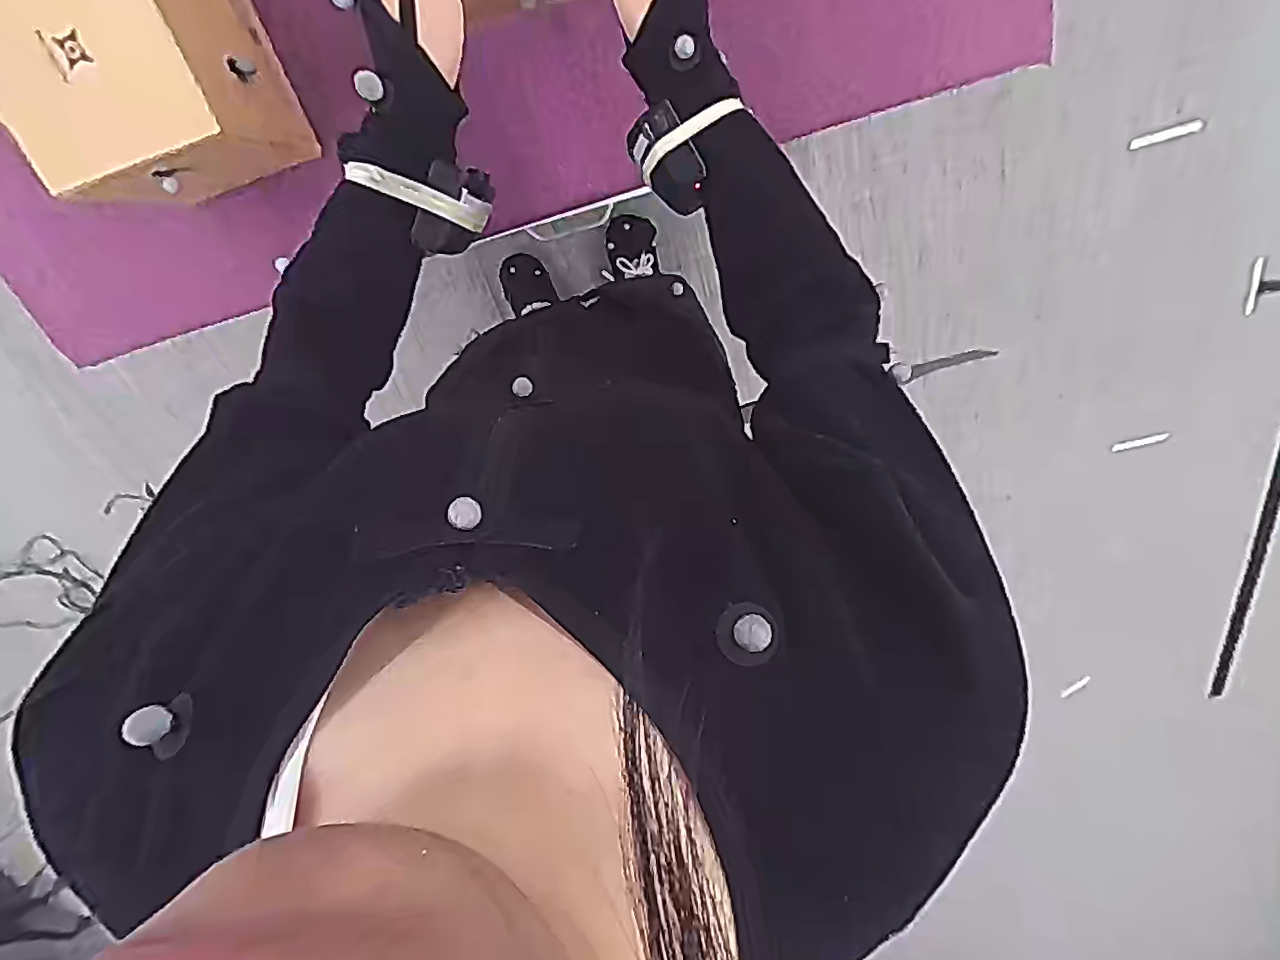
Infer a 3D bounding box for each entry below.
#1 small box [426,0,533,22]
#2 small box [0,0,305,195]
[{"bbox_3d":[-0.113,-0.465,0.364,0.168,0.176,0.179,-18,112,-2],"label":"small box"},{"bbox_3d":[-0.453,-0.378,0.499,0.179,0.176,0.168,-15,116,7],"label":"small box"}]
